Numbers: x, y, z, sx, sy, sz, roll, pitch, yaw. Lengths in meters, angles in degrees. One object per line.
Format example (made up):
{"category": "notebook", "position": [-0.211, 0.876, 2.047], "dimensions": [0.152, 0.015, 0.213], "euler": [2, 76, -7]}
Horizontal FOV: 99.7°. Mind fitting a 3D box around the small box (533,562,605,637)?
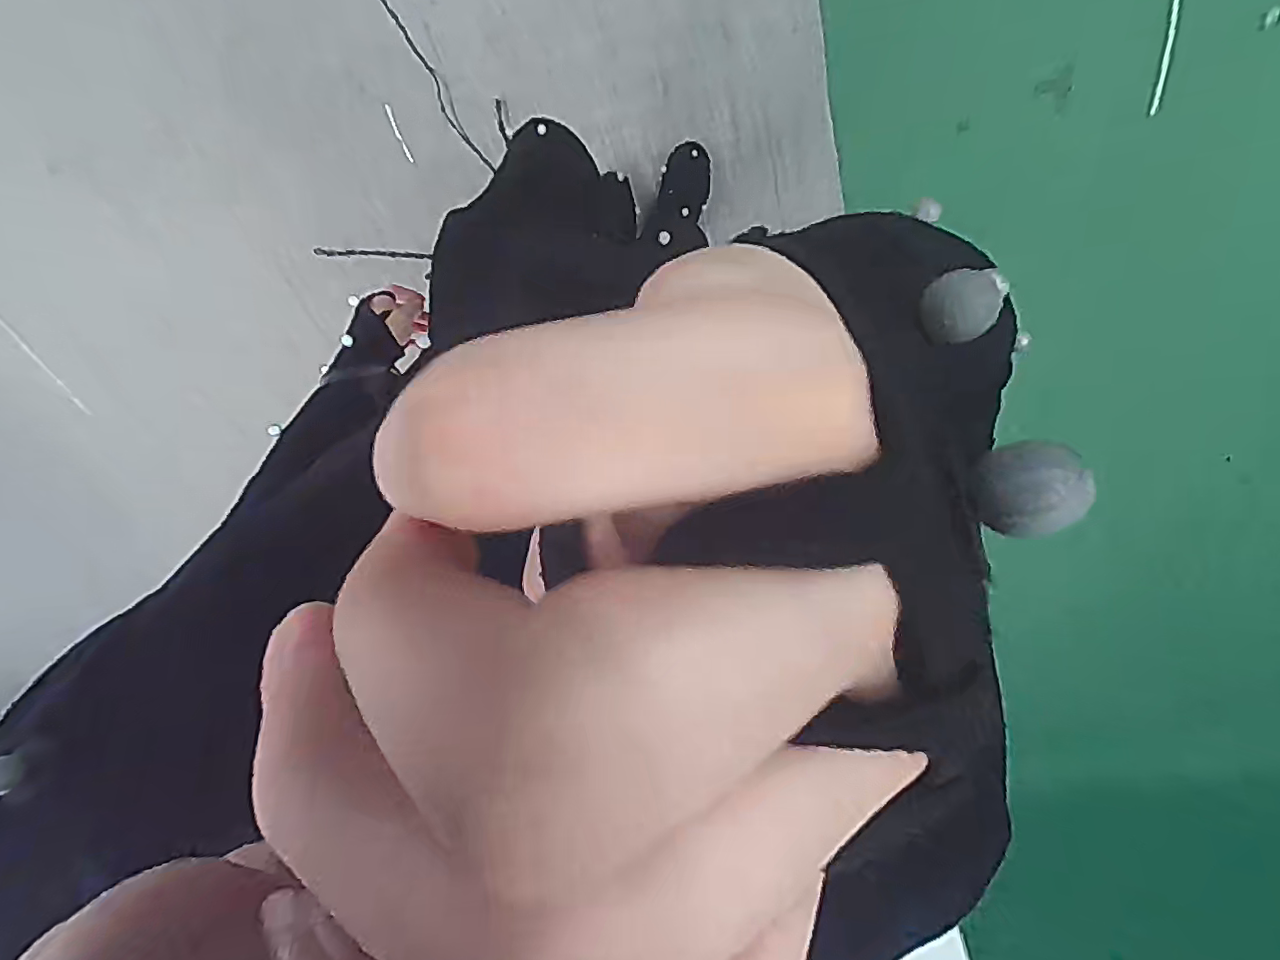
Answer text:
{"category": "small box", "position": [-0.221, 0.383, 1.755], "dimensions": [0.179, 0.176, 0.168], "euler": [-11, 121, 14]}
